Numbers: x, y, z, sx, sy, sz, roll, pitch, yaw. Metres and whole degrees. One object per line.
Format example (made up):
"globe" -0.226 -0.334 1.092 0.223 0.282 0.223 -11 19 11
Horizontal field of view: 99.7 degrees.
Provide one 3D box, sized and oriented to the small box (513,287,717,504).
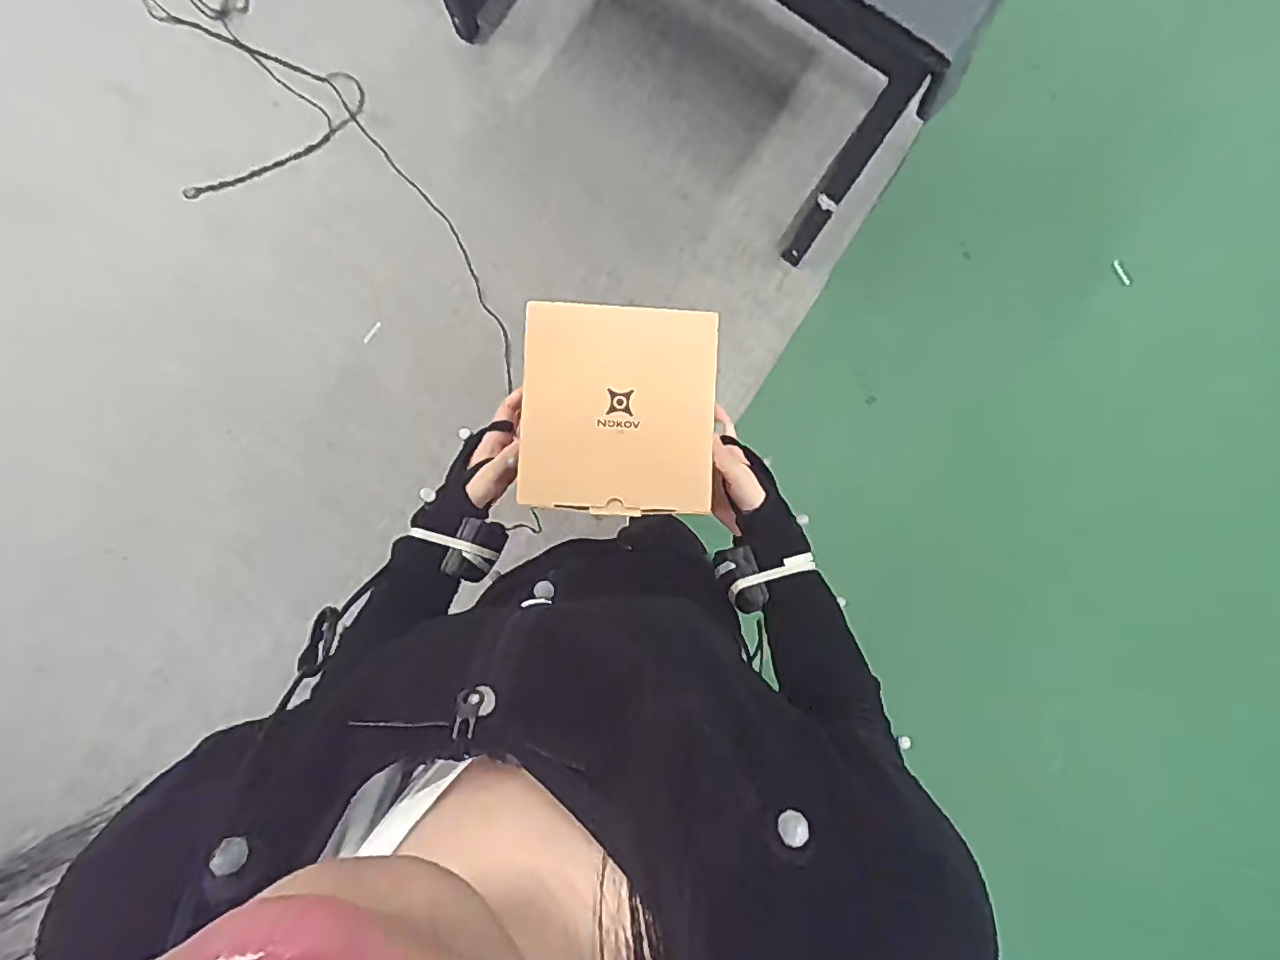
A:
"small box" -0.025 -0.067 0.528 0.168 0.176 0.179 2 89 -4
